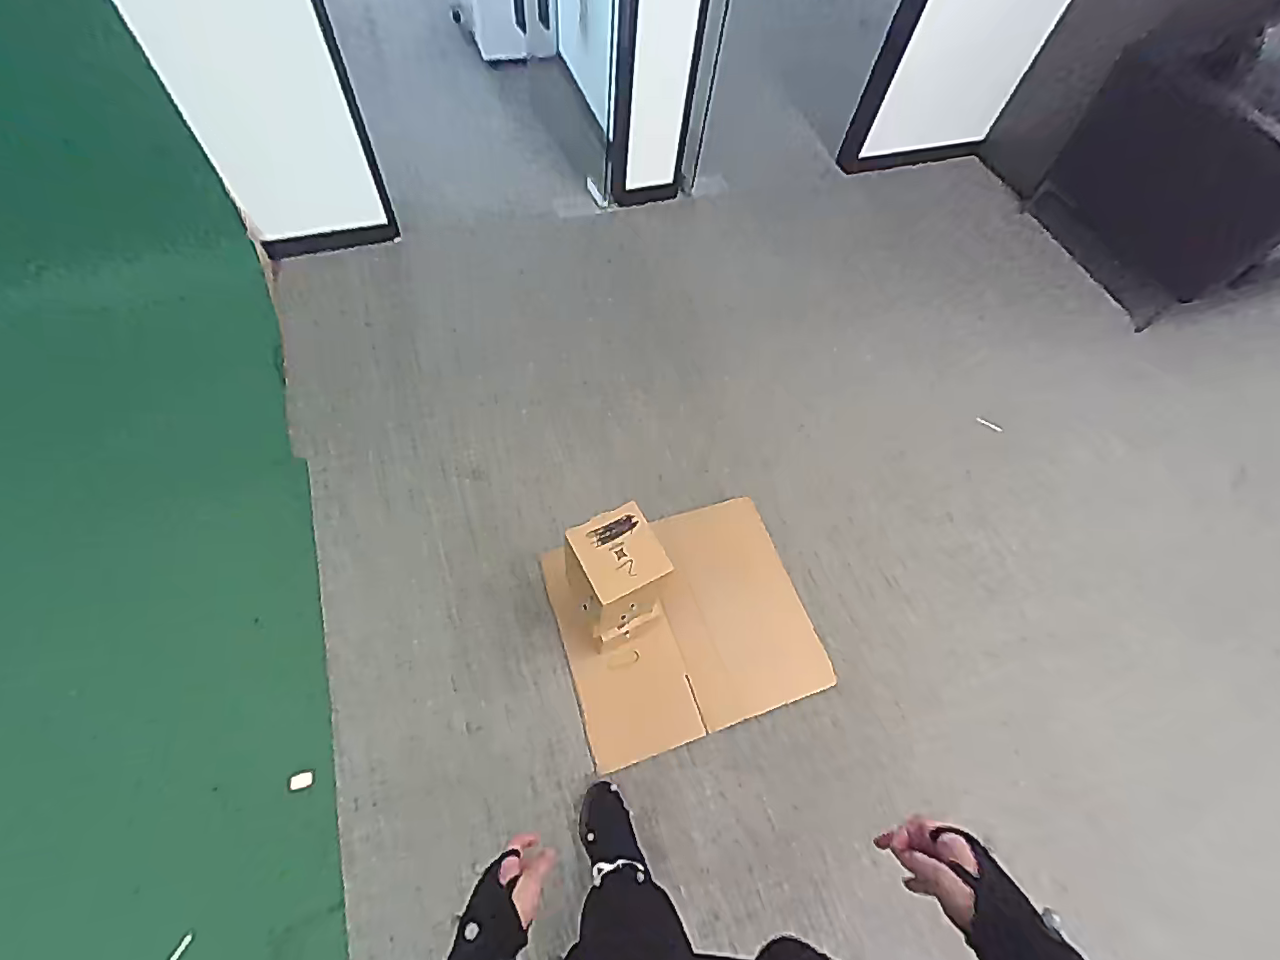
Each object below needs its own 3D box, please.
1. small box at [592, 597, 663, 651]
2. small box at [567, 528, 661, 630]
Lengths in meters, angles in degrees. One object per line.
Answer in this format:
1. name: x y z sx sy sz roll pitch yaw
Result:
1. small box: -0.057 0.333 1.447 0.168 0.176 0.179 -22 65 -16
2. small box: -0.066 0.247 1.305 0.168 0.176 0.179 -21 65 -17
